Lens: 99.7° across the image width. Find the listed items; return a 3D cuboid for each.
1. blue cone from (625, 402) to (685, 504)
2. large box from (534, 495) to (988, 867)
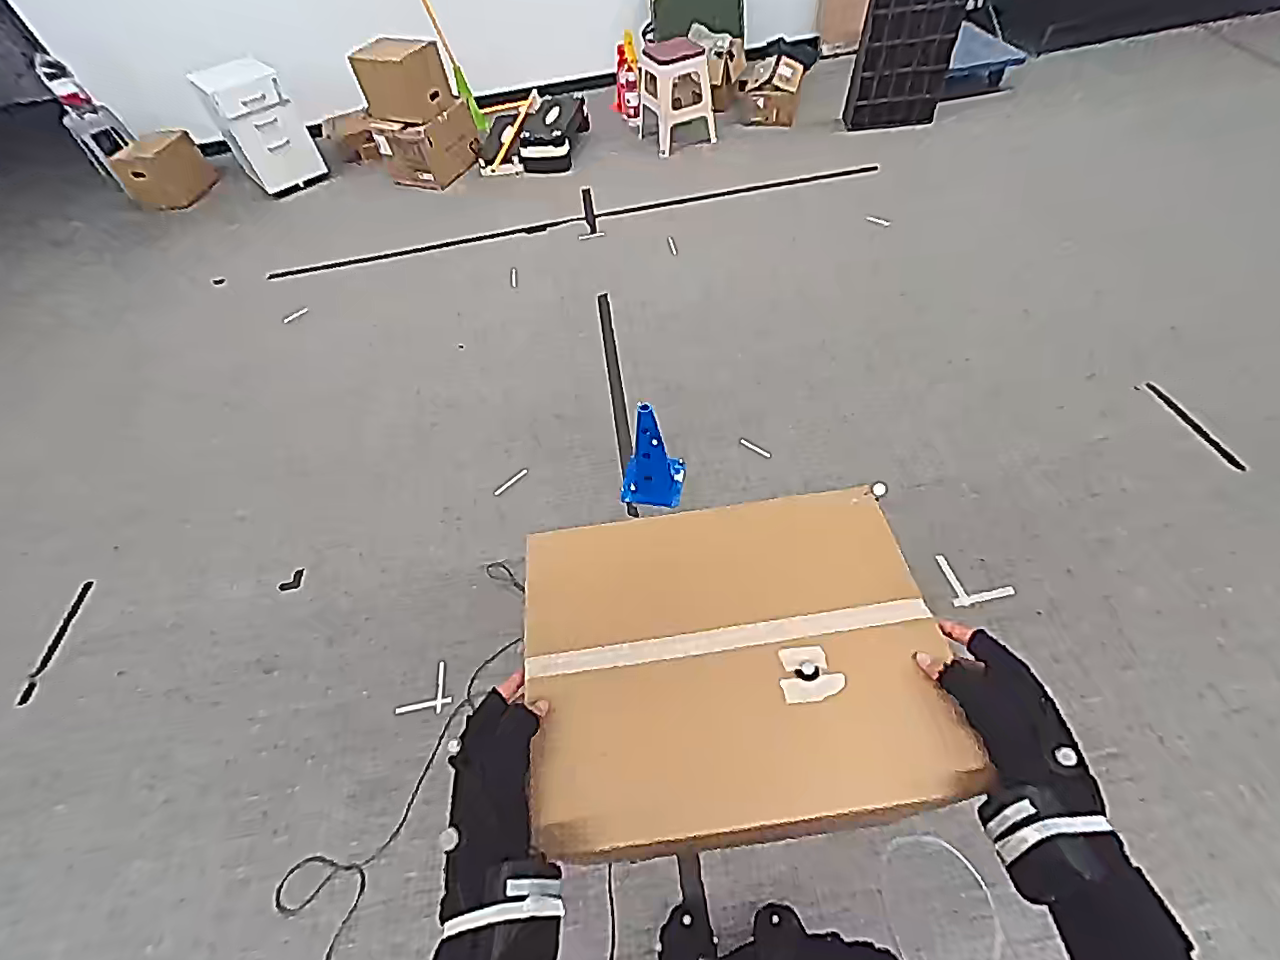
[{"bbox_3d":[0.035,-0.098,1.725,0.193,0.380,0.192,7,54,12],"label":"blue cone"},{"bbox_3d":[0.100,0.257,0.670,0.408,0.320,0.320,-8,53,0],"label":"large box"}]
